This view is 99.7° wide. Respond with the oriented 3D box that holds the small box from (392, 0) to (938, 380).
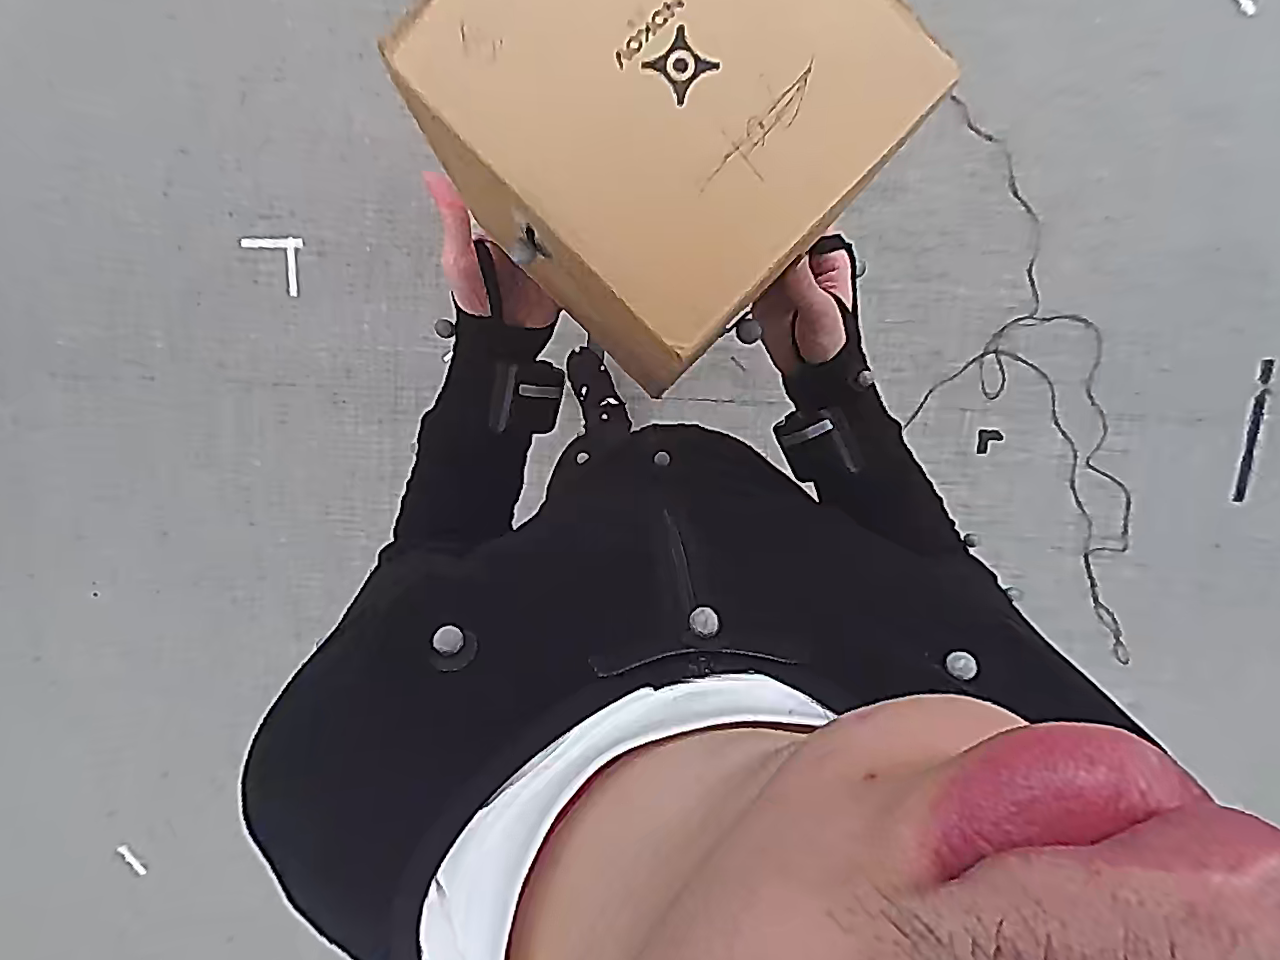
[{"bbox_3d":[0.009,-0.176,0.308,0.179,0.176,0.168,44,92,-3],"label":"small box"}]
